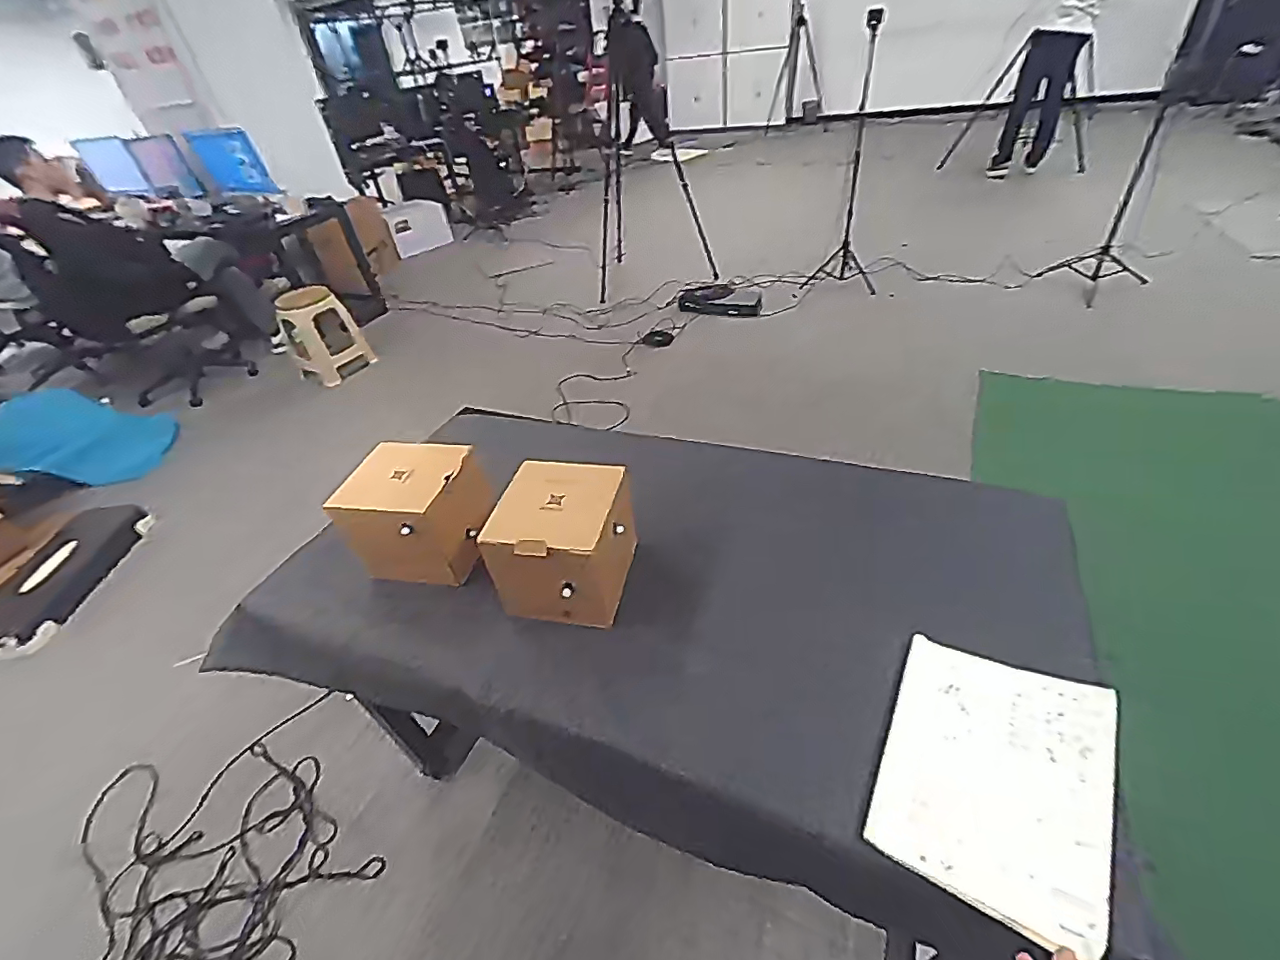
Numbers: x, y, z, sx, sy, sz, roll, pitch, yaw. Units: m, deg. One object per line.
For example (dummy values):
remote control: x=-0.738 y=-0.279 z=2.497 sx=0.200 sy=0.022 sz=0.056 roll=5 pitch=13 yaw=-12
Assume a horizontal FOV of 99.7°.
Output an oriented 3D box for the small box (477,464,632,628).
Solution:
small box: x=-0.113 y=0.098 z=0.809 sx=0.168 sy=0.176 sz=0.179 roll=4 pitch=39 yaw=13

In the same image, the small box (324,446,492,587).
small box: x=-0.368 y=0.060 z=0.899 sx=0.179 sy=0.176 sz=0.168 roll=3 pitch=40 yaw=11
